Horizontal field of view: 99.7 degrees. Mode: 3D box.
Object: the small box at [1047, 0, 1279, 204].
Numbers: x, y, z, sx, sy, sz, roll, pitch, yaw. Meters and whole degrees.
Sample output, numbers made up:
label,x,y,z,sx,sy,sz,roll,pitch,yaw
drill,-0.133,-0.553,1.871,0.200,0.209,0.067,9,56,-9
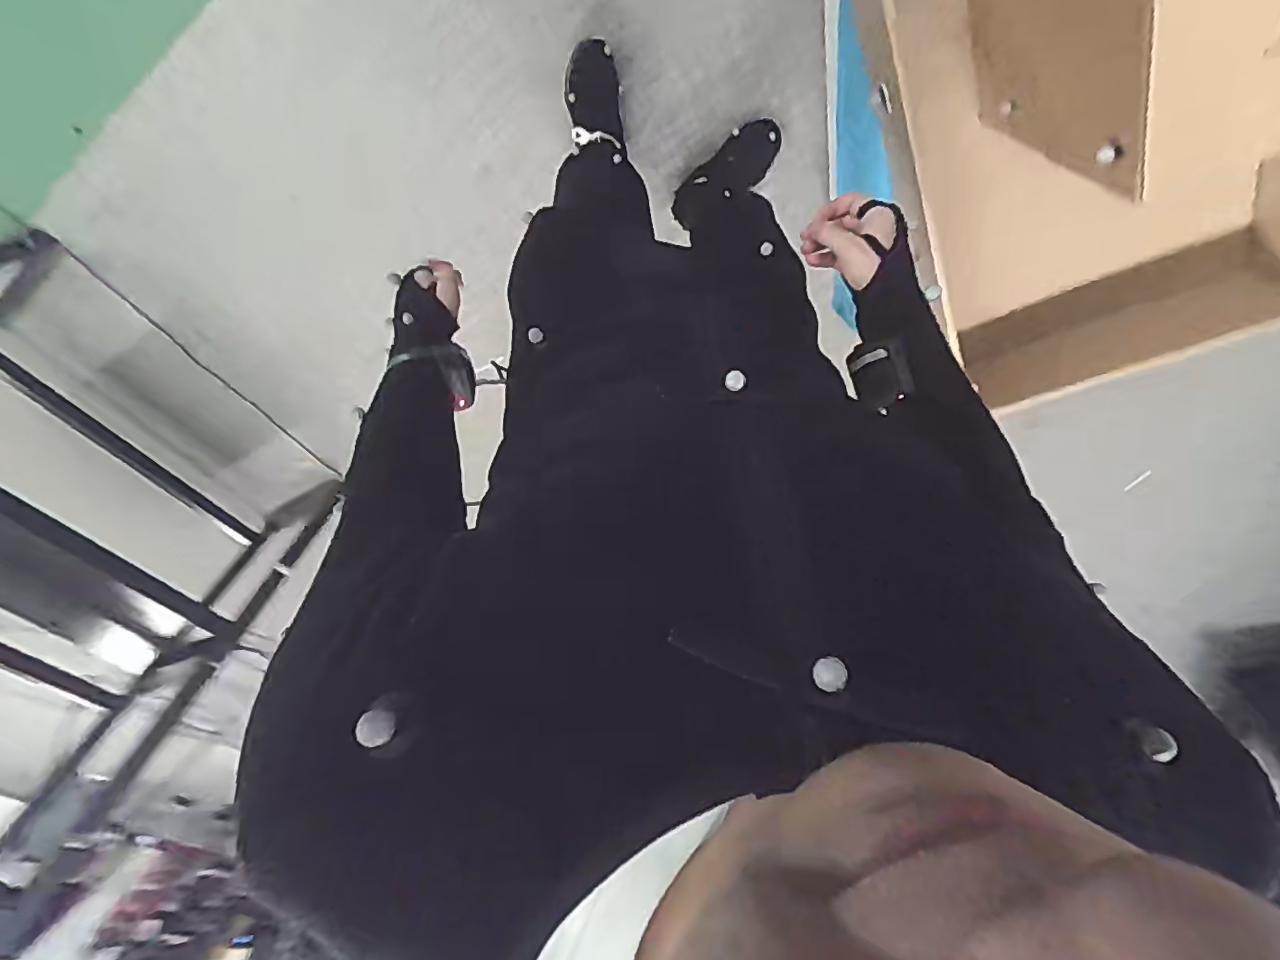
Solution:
label,x,y,z,sx,sy,sz,roll,pitch,yaw
small box,0.429,-0.344,0.394,0.168,0.176,0.179,-19,128,22
